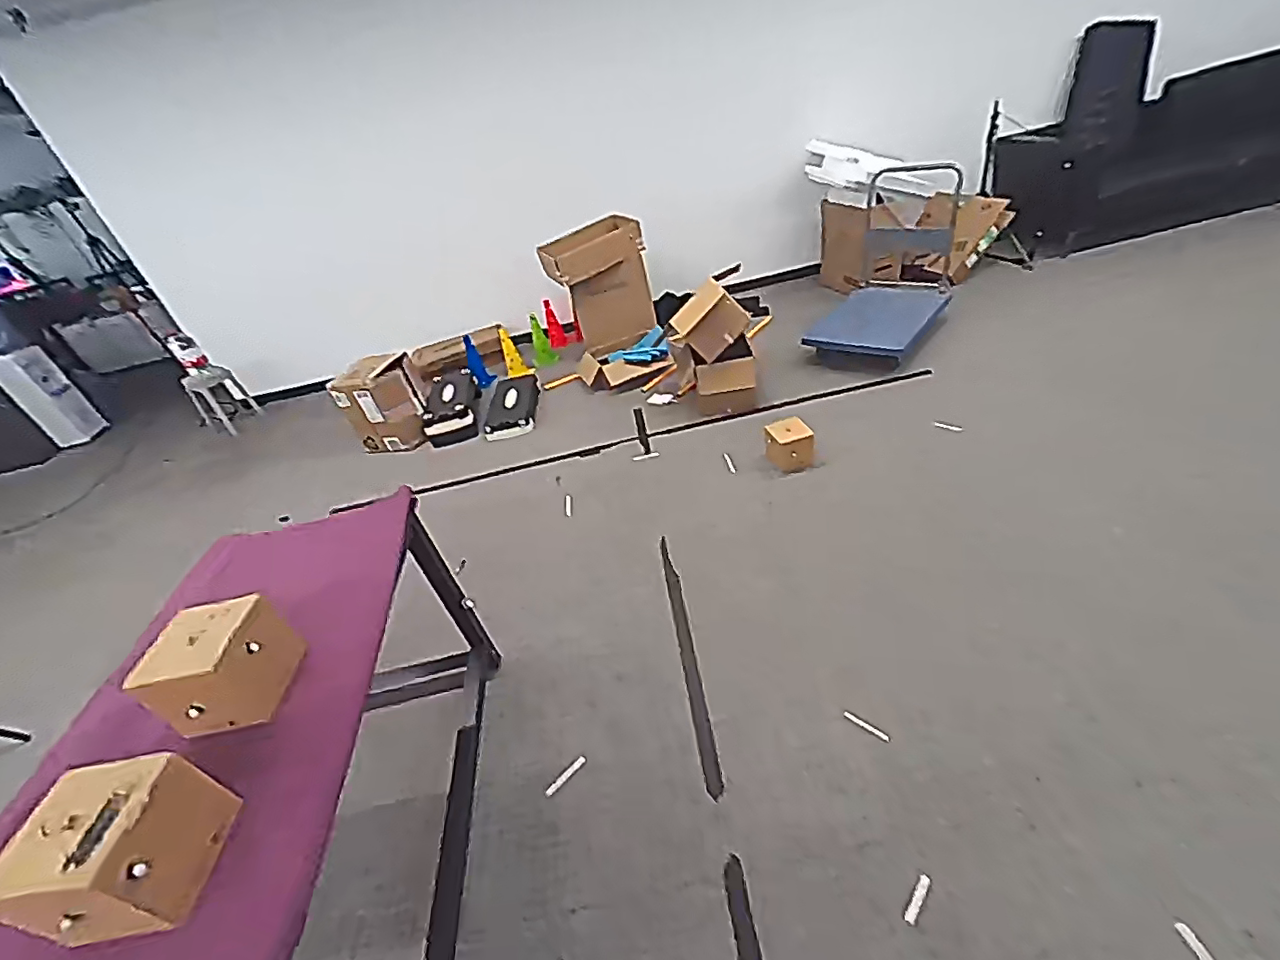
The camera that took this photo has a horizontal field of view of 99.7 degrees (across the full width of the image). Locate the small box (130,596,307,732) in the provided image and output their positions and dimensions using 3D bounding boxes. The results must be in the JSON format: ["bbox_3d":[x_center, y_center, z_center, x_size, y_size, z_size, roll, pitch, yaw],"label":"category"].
[{"bbox_3d":[-0.776,0.353,1.024,0.168,0.176,0.179,-11,35,3],"label":"small box"}]

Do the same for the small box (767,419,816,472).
[{"bbox_3d":[0.702,-0.153,2.495,0.168,0.176,0.179,-17,35,-4],"label":"small box"}]
